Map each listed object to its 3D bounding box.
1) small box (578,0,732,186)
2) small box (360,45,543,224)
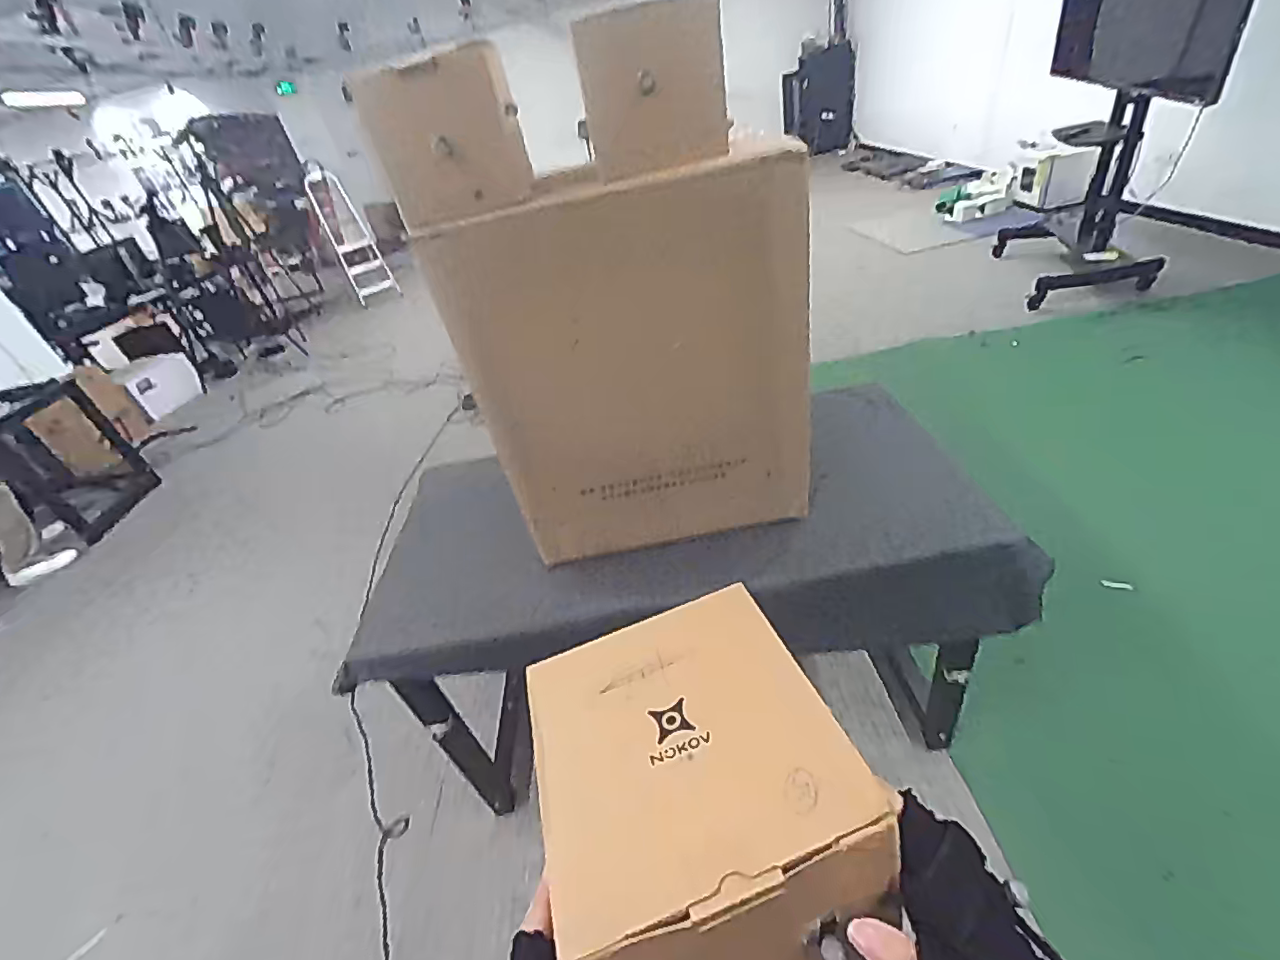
[{"bbox_3d":[0.023,-0.514,0.721,0.179,0.176,0.168,-11,38,3],"label":"small box"},{"bbox_3d":[-0.236,-0.461,0.730,0.168,0.176,0.179,-11,38,3],"label":"small box"}]
